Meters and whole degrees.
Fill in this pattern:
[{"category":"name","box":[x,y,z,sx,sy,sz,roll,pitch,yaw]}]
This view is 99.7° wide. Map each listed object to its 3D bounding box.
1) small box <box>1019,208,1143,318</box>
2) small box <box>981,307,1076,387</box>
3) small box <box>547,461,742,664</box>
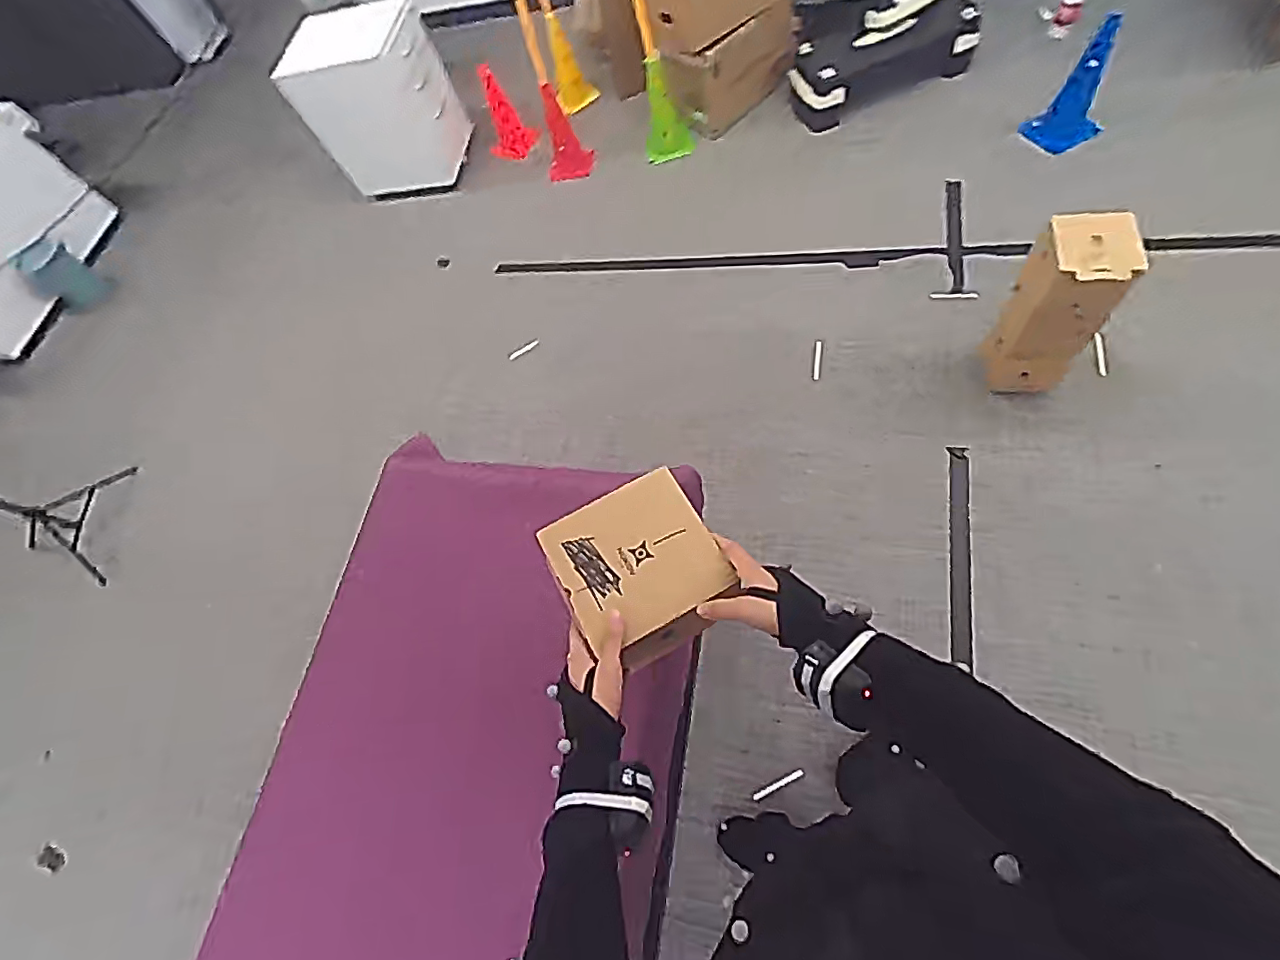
[{"category":"small box","box":[1.020,-0.505,1.271,0.168,0.176,0.179,4,68,14]},{"category":"small box","box":[1.113,-0.380,1.564,0.168,0.176,0.179,0,66,14]},{"category":"small box","box":[0.015,0.112,0.674,0.179,0.176,0.168,-30,65,-2]}]
